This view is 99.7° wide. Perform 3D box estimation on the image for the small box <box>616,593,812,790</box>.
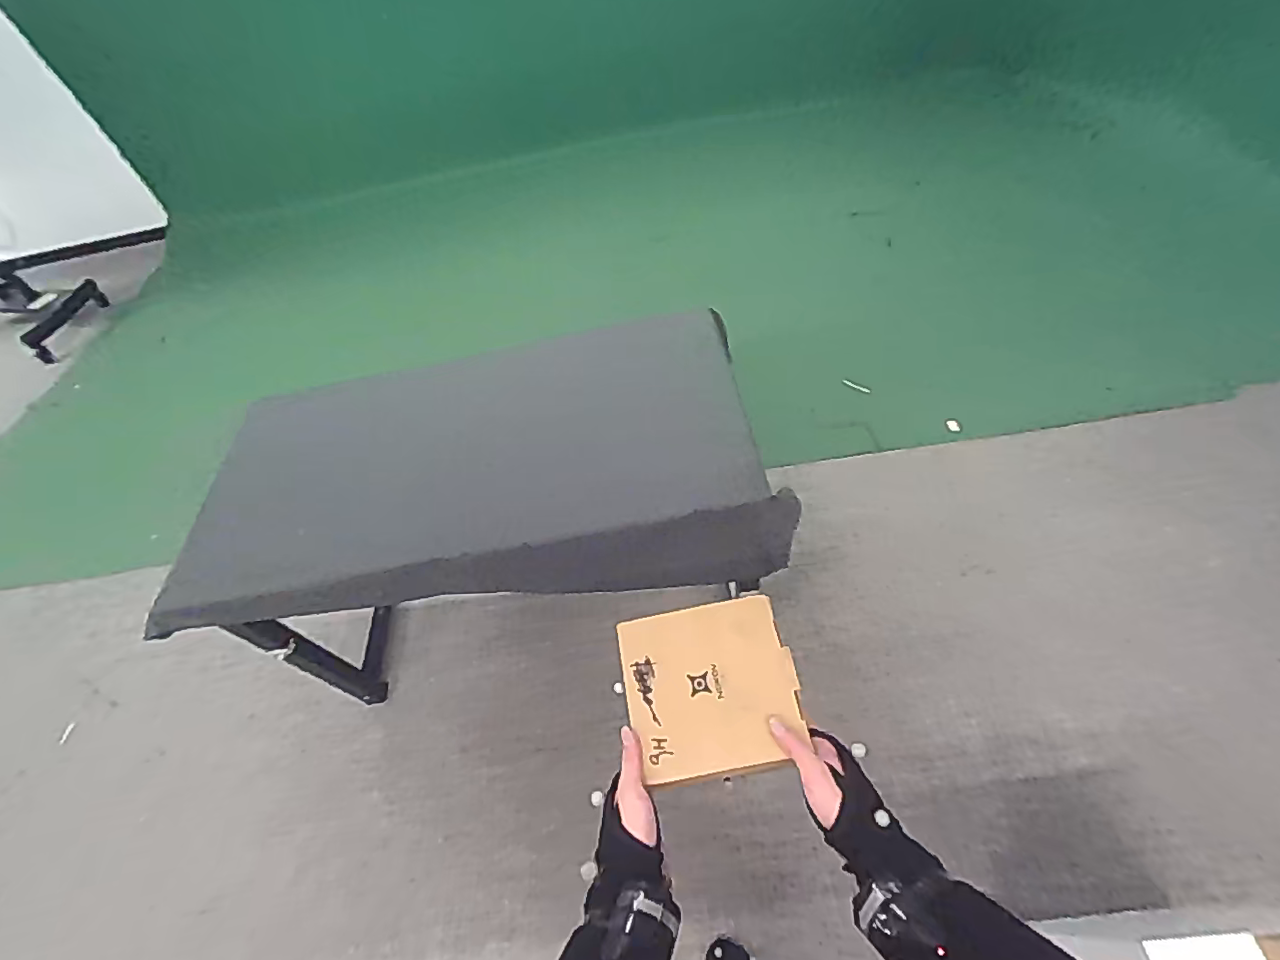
[{"bbox_3d":[0.074,0.246,0.620,0.179,0.176,0.168,-9,56,-1],"label":"small box"}]
